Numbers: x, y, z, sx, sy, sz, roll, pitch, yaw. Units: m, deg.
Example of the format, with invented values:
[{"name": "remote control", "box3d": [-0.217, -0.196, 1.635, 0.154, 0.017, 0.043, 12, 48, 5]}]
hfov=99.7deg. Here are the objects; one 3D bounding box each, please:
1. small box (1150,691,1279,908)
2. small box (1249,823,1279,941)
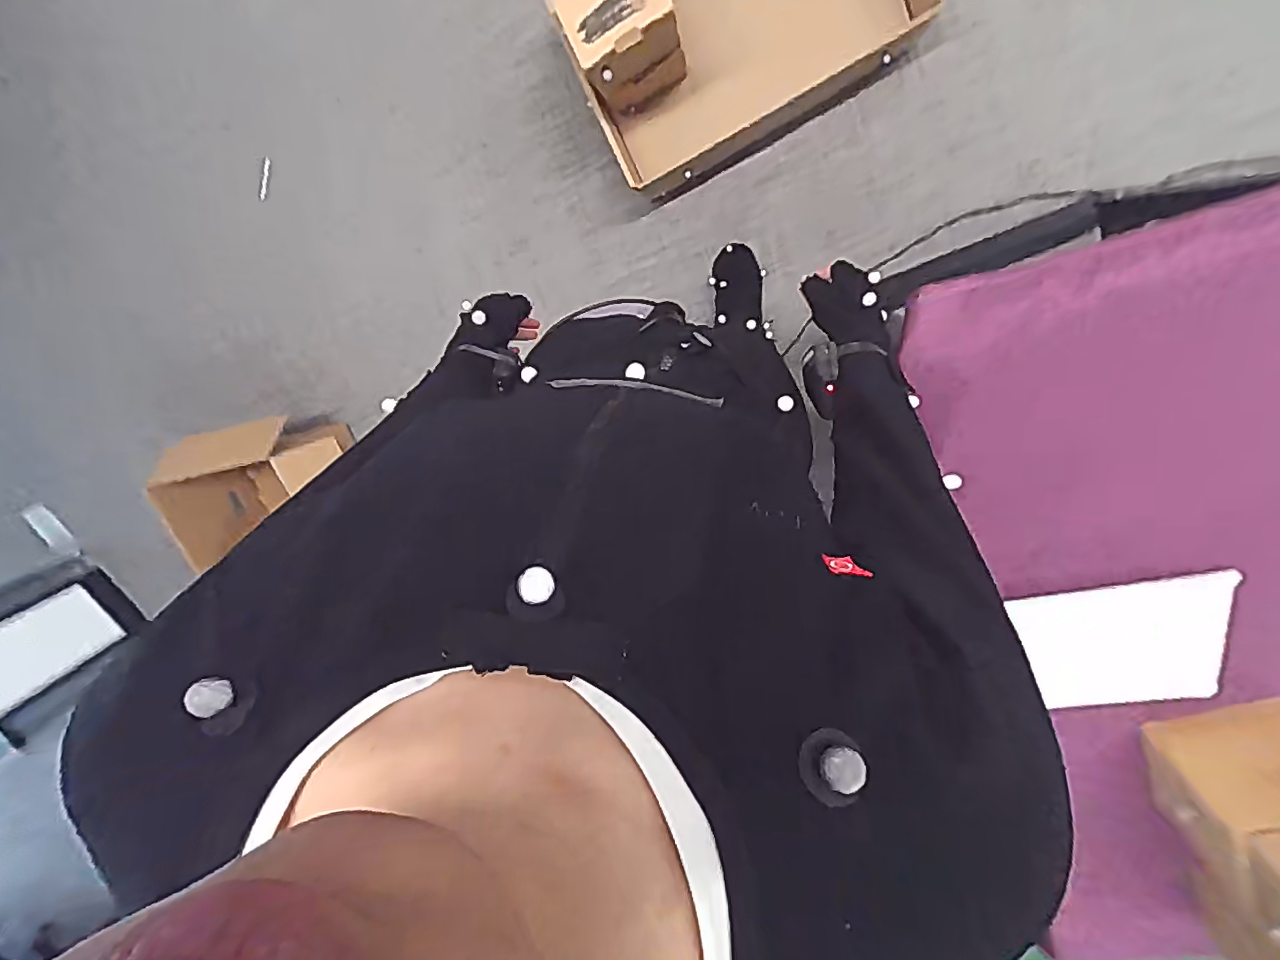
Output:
[{"name": "small box", "box3d": [0.821, 0.410, 0.707, 0.179, 0.176, 0.168, -22, 108, 16]}, {"name": "small box", "box3d": [0.805, 0.474, 0.555, 0.179, 0.176, 0.168, -19, 108, 16]}]
